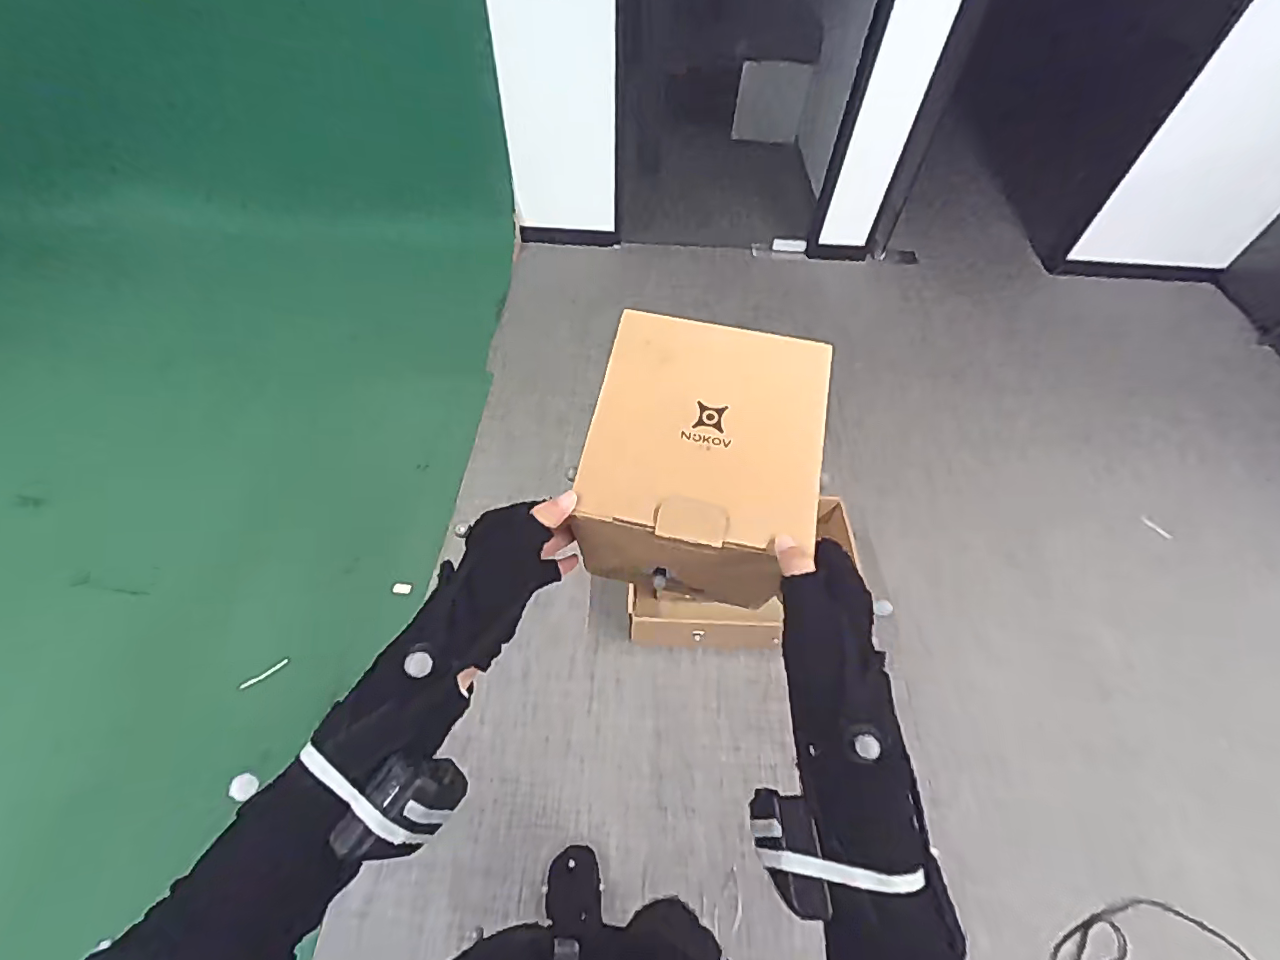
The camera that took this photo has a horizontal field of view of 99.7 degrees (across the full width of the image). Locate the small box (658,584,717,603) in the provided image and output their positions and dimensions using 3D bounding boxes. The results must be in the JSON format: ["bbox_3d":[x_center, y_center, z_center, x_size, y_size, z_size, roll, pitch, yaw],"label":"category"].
[{"bbox_3d":[0.138,0.217,1.479,0.168,0.176,0.179,3,53,0],"label":"small box"}]

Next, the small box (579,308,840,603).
[{"bbox_3d":[0.054,-0.009,0.457,0.168,0.176,0.179,12,68,4],"label":"small box"}]
